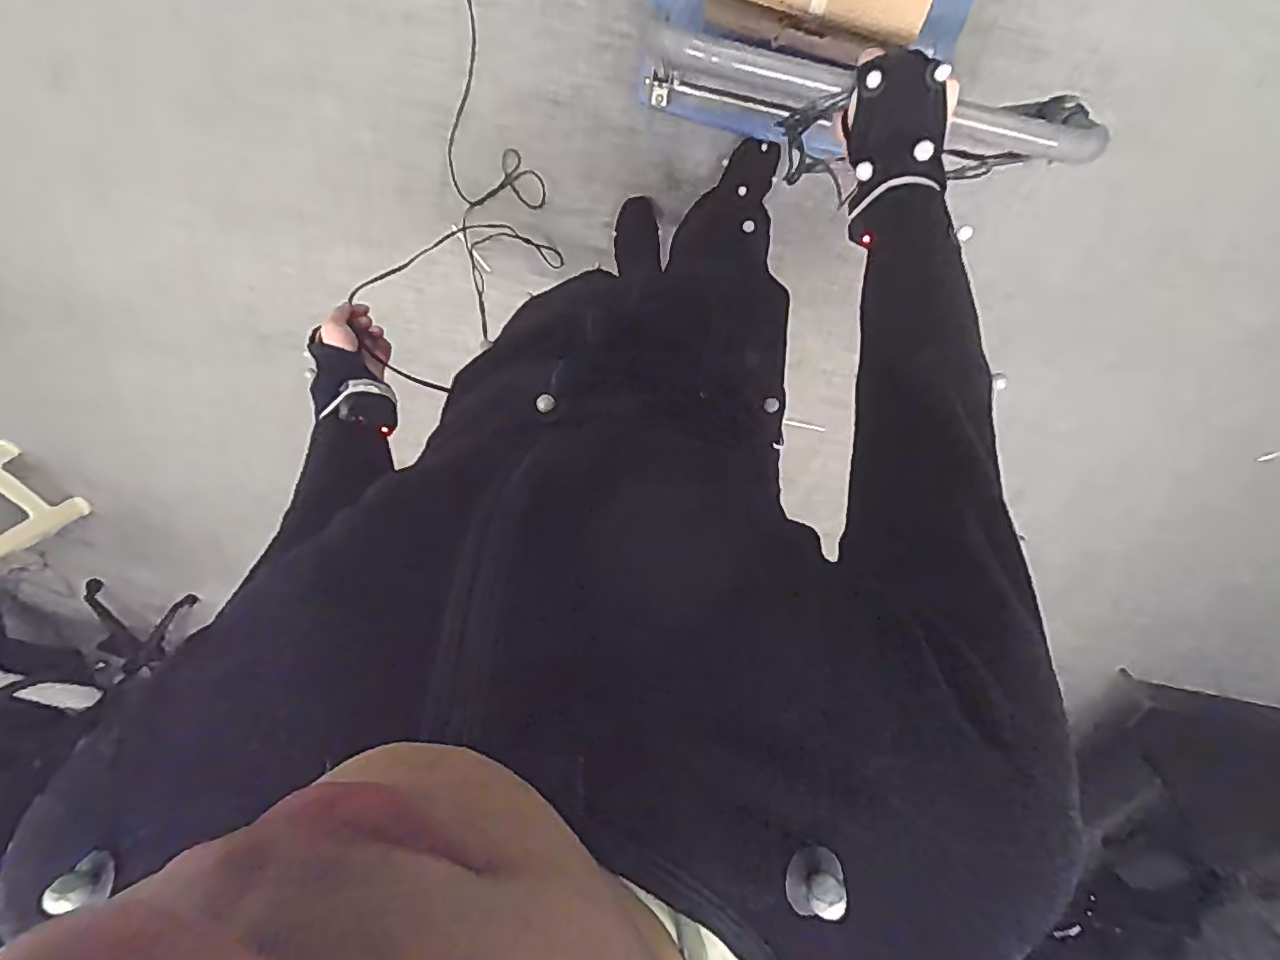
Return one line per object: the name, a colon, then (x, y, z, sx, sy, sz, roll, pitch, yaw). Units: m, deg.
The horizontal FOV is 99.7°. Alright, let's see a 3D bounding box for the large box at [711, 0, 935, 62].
large box: (0.304, -0.897, 0.778, 0.320, 0.320, 0.408, 14, 124, -5)
